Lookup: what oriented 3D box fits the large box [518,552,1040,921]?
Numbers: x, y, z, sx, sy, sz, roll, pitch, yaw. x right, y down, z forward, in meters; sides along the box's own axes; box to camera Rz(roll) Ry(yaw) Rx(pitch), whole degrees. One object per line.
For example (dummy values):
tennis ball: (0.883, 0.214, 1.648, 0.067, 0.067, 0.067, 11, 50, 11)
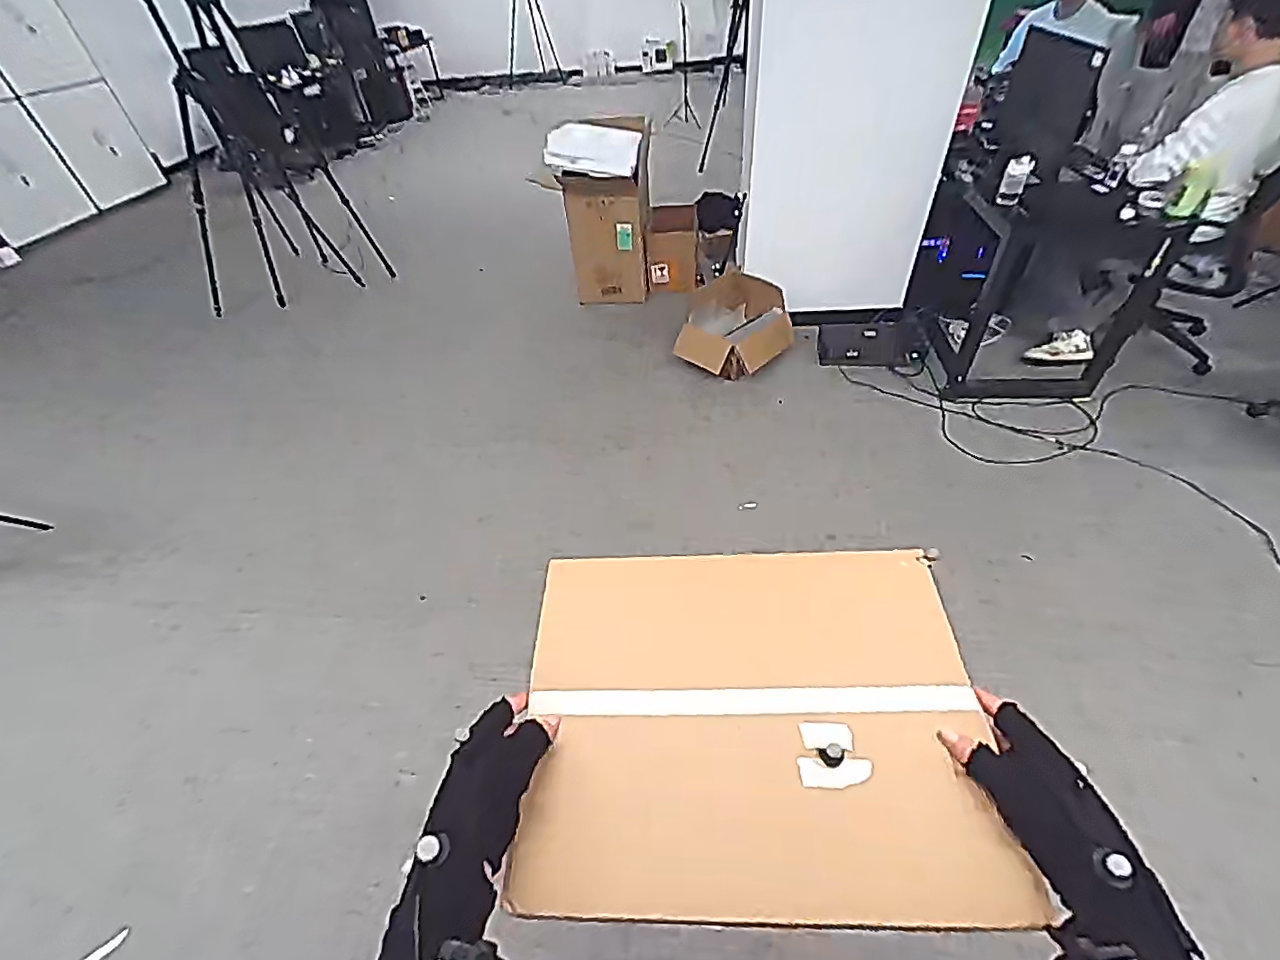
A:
large box: (0.110, 0.300, 0.617, 0.408, 0.320, 0.320, -2, 51, 4)
